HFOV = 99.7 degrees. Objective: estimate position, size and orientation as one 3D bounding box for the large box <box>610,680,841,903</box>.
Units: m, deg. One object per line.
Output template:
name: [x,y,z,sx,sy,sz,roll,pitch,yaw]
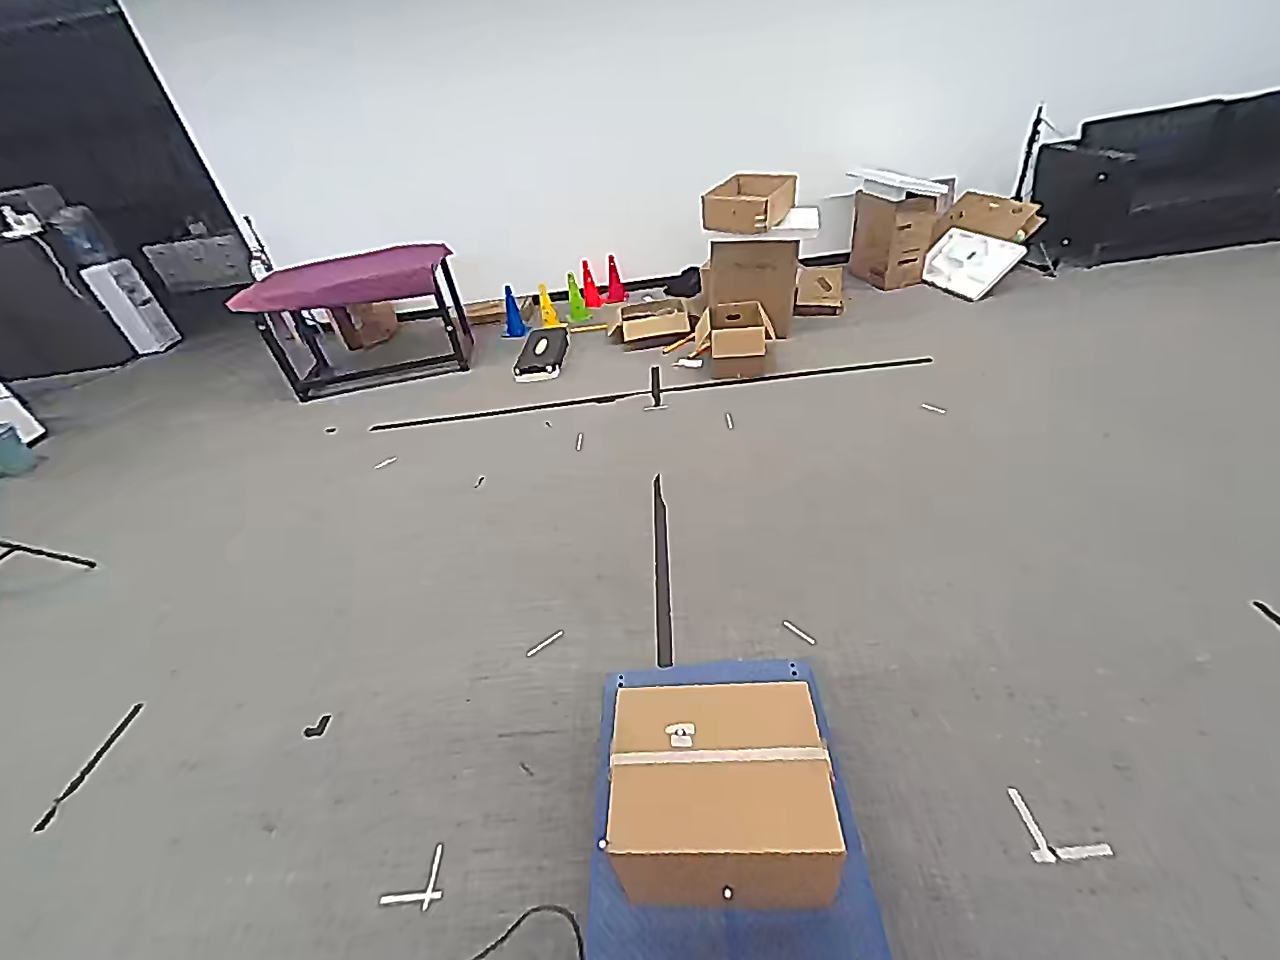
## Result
large box: [0.169,0.653,1.132,0.408,0.320,0.320,-6,36,6]
